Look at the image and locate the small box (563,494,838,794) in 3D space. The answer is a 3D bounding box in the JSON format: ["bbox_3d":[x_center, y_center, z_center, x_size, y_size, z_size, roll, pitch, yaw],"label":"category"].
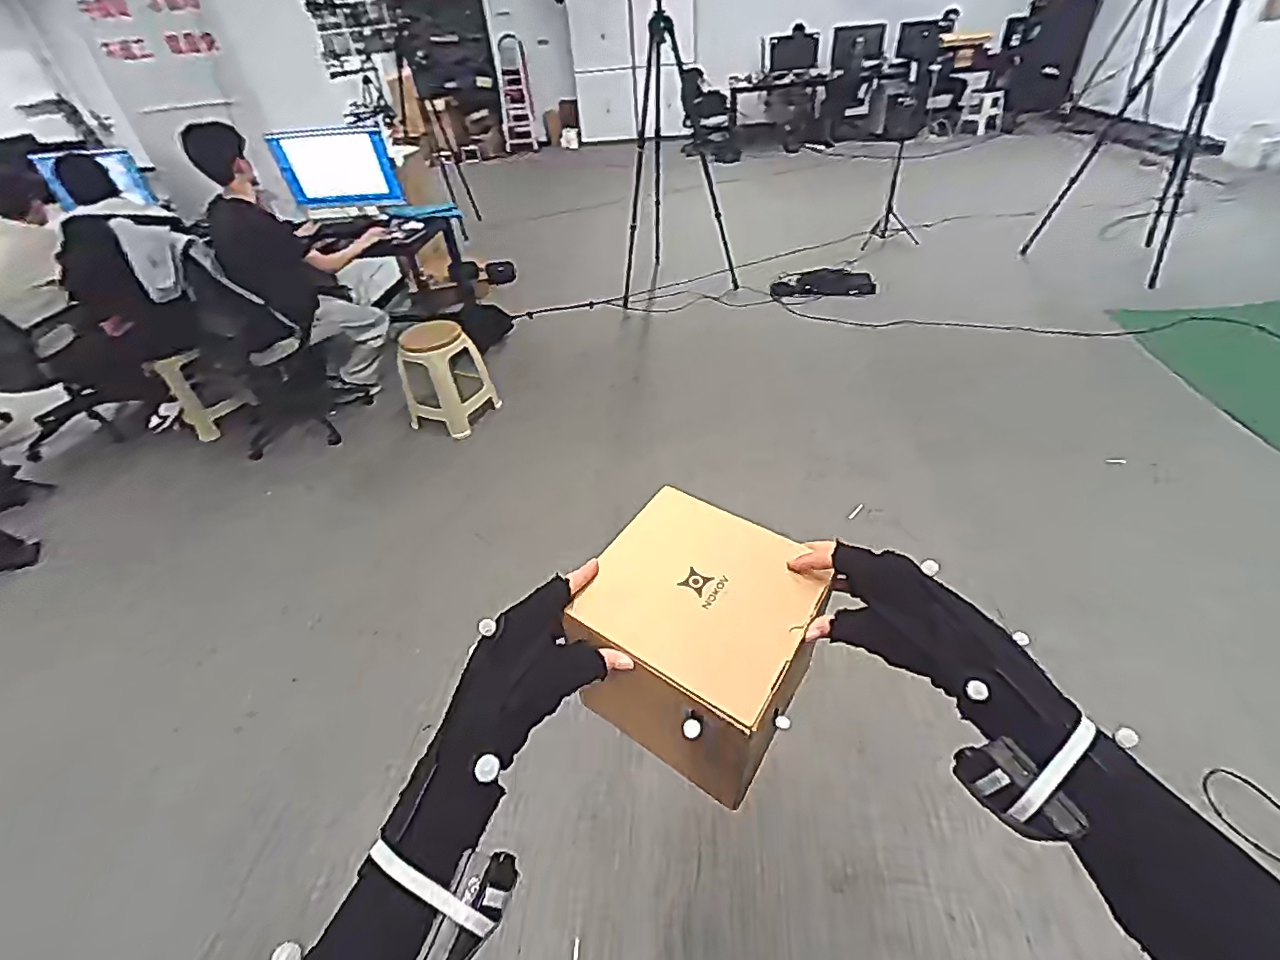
[{"bbox_3d":[0.052,0.150,0.502,0.179,0.176,0.168,27,49,26],"label":"small box"}]
